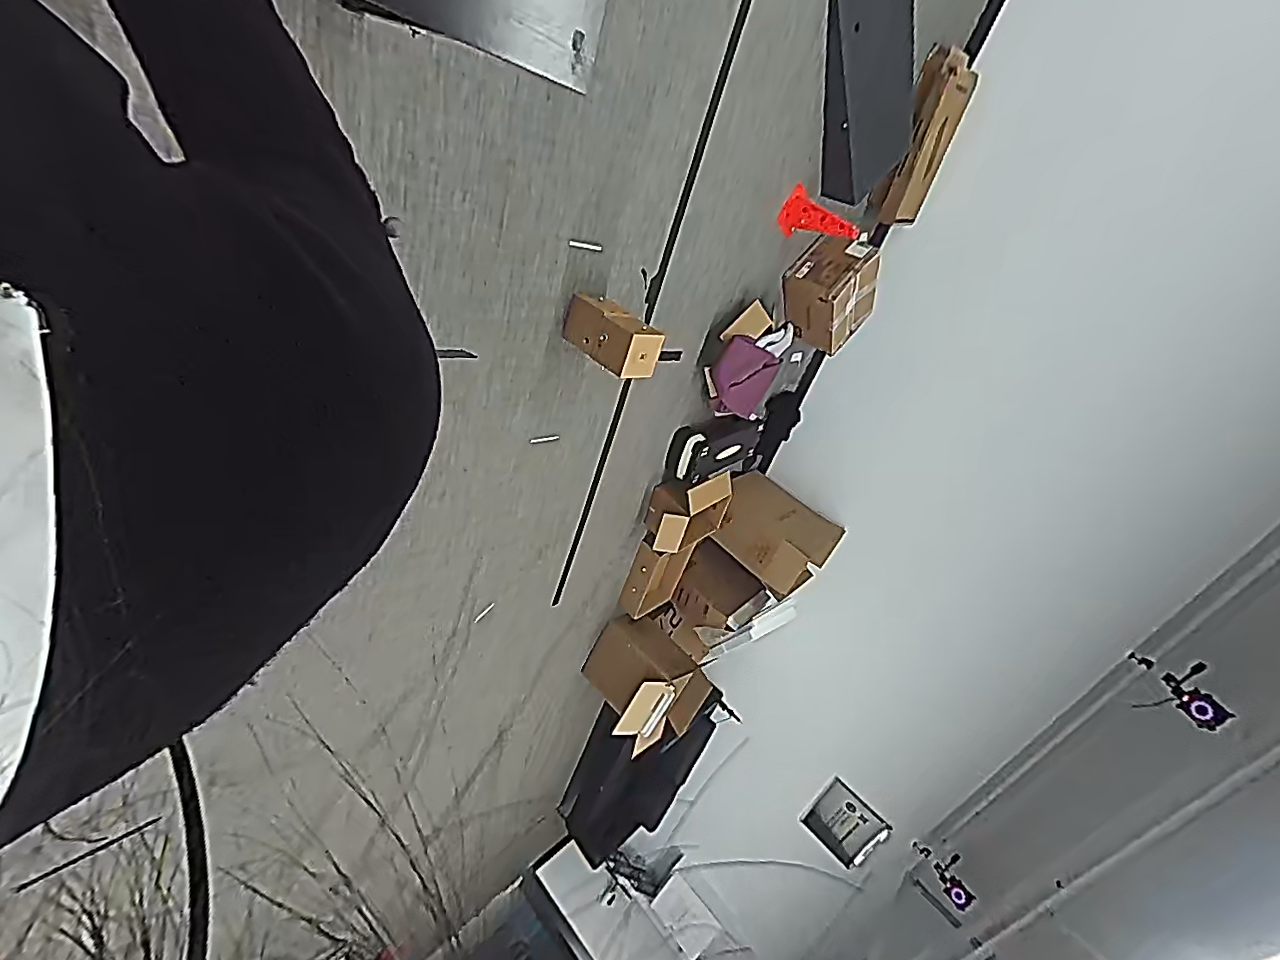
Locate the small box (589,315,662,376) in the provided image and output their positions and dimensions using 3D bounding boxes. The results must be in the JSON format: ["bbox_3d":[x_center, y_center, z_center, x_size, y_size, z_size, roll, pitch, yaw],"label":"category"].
[{"bbox_3d":[-0.055,-0.489,1.960,0.179,0.176,0.168,-15,133,-46],"label":"small box"}]

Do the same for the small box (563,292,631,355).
[{"bbox_3d":[-0.168,-0.583,2.031,0.168,0.176,0.179,-15,134,-48],"label":"small box"}]
